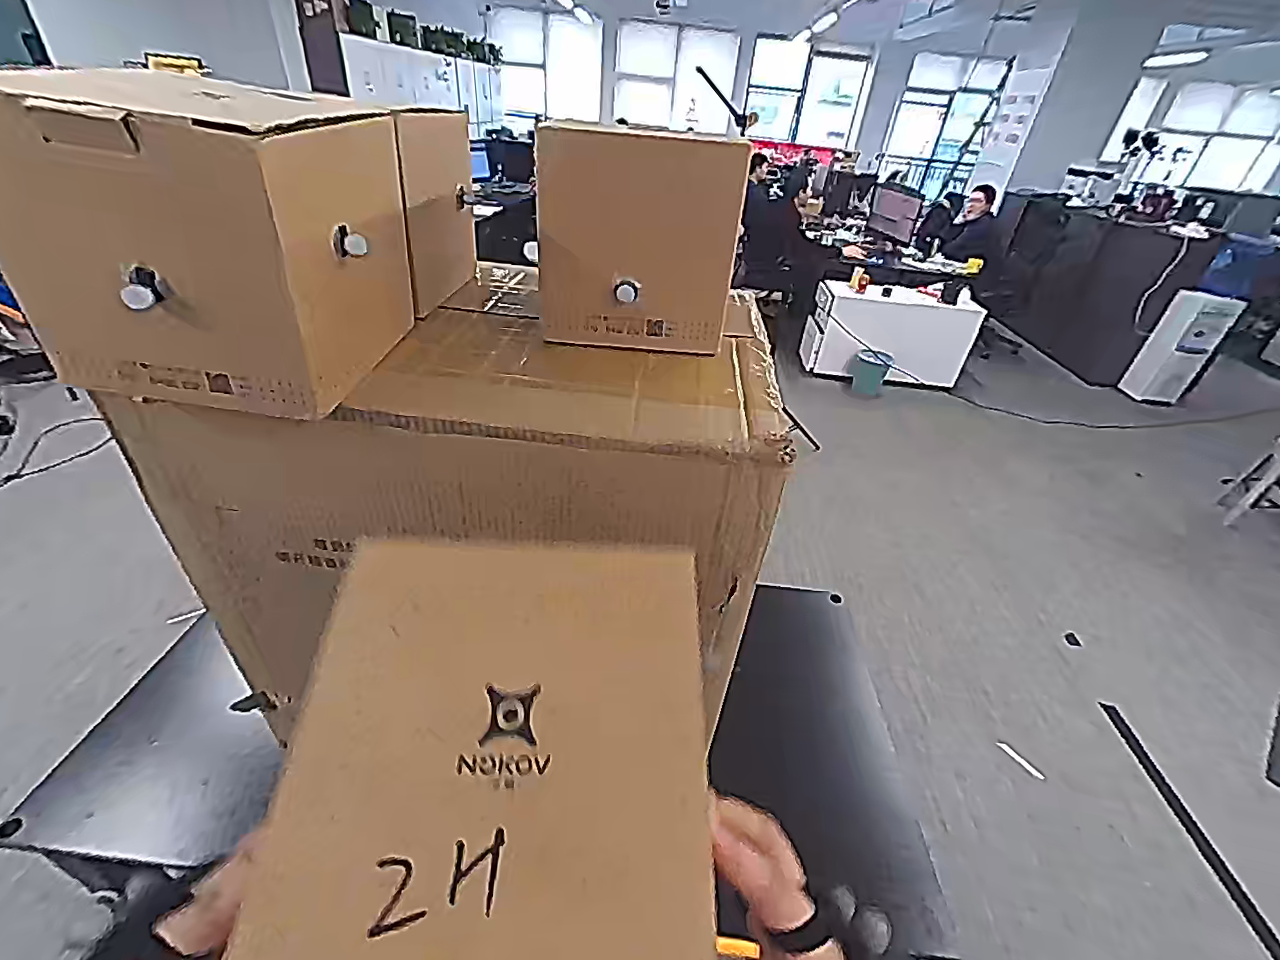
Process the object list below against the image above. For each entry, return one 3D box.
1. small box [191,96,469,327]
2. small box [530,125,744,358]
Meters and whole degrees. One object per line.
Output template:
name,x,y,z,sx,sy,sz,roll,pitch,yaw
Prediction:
small box,-0.277,-0.267,0.537,0.168,0.176,0.179,5,34,0
small box,-0.005,-0.231,0.517,0.168,0.176,0.179,3,34,0
